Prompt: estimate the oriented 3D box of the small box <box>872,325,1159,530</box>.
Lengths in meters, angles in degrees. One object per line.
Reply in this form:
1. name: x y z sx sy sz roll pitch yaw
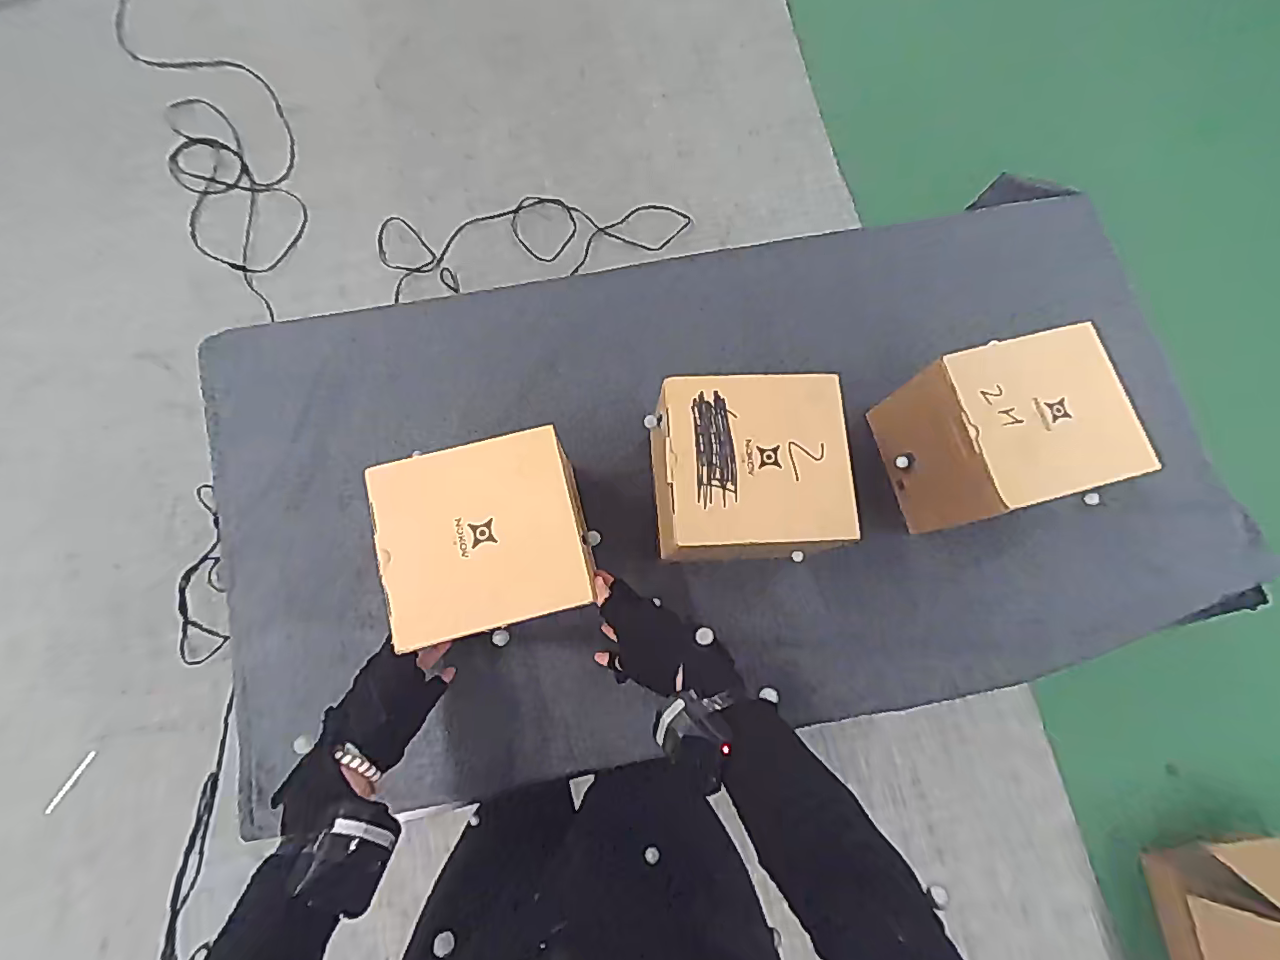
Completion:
1. small box: 0.403 -0.049 0.614 0.179 0.176 0.168 -14 77 -6
